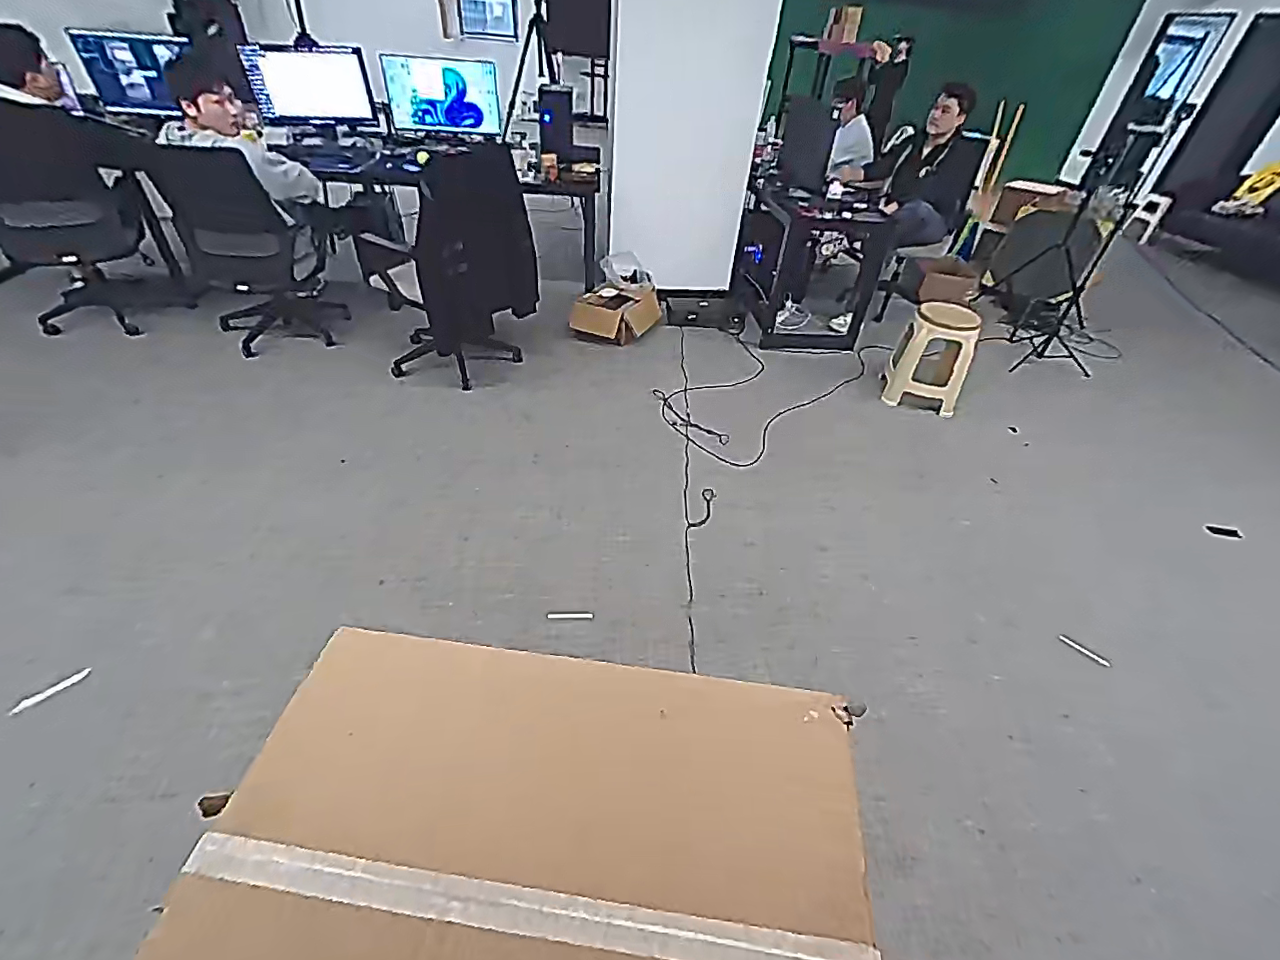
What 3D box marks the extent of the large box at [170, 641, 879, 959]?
[{"bbox_3d":[-0.064,0.362,0.426,0.408,0.320,0.320,6,45,5],"label":"large box"}]
